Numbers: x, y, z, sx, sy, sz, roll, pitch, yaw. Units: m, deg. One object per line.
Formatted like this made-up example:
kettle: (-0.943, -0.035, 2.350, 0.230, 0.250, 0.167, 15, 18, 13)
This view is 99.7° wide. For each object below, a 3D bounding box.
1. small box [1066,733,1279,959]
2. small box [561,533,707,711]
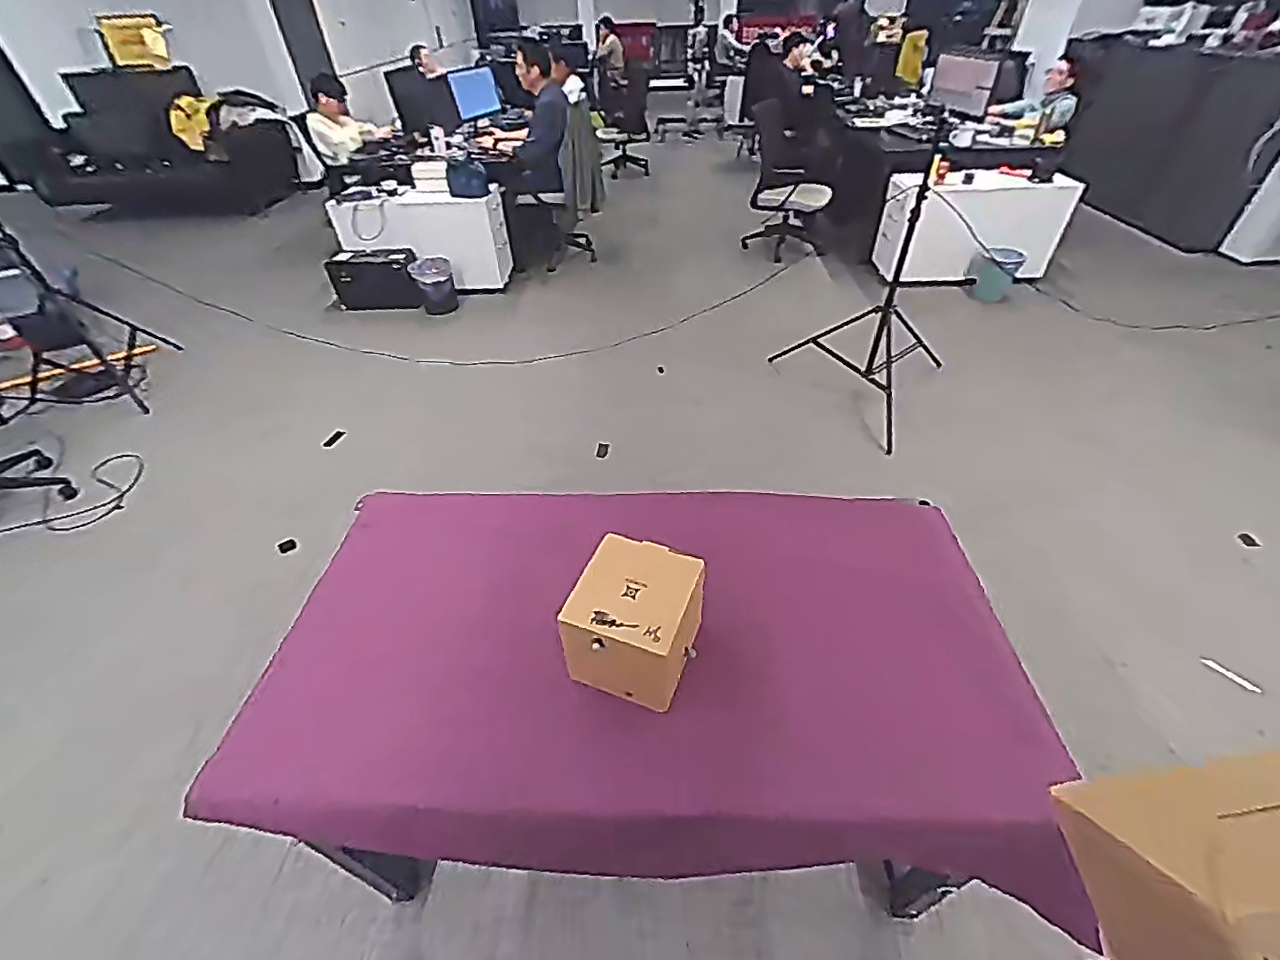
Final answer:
small box: (0.373, 0.251, 0.279, 0.168, 0.179, 0.176, -17, 75, 10)
small box: (-0.005, 0.217, 0.834, 0.168, 0.176, 0.179, 14, 43, 18)
